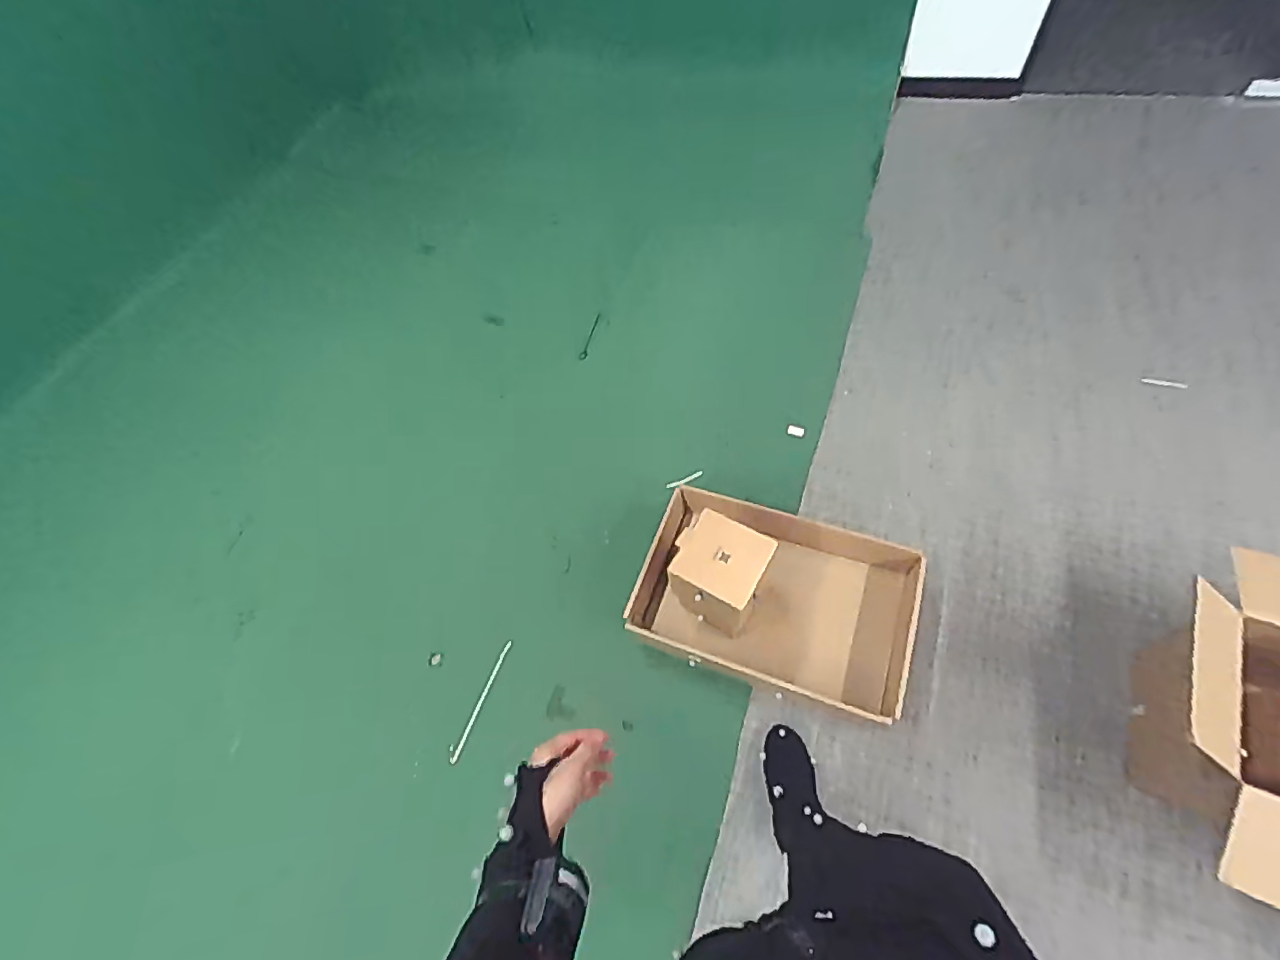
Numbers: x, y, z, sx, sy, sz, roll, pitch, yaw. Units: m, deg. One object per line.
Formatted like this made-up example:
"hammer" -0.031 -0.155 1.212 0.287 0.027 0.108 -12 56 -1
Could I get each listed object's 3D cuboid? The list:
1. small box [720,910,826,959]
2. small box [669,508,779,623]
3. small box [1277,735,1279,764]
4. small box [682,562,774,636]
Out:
"small box" 0.244 0.935 0.973 0.176 0.168 0.179 39 41 11
"small box" 0.183 0.194 1.184 0.179 0.176 0.168 26 67 21
"small box" 1.230 0.457 0.892 0.168 0.176 0.179 26 69 18
"small box" 0.209 0.254 1.334 0.168 0.176 0.179 31 70 22
